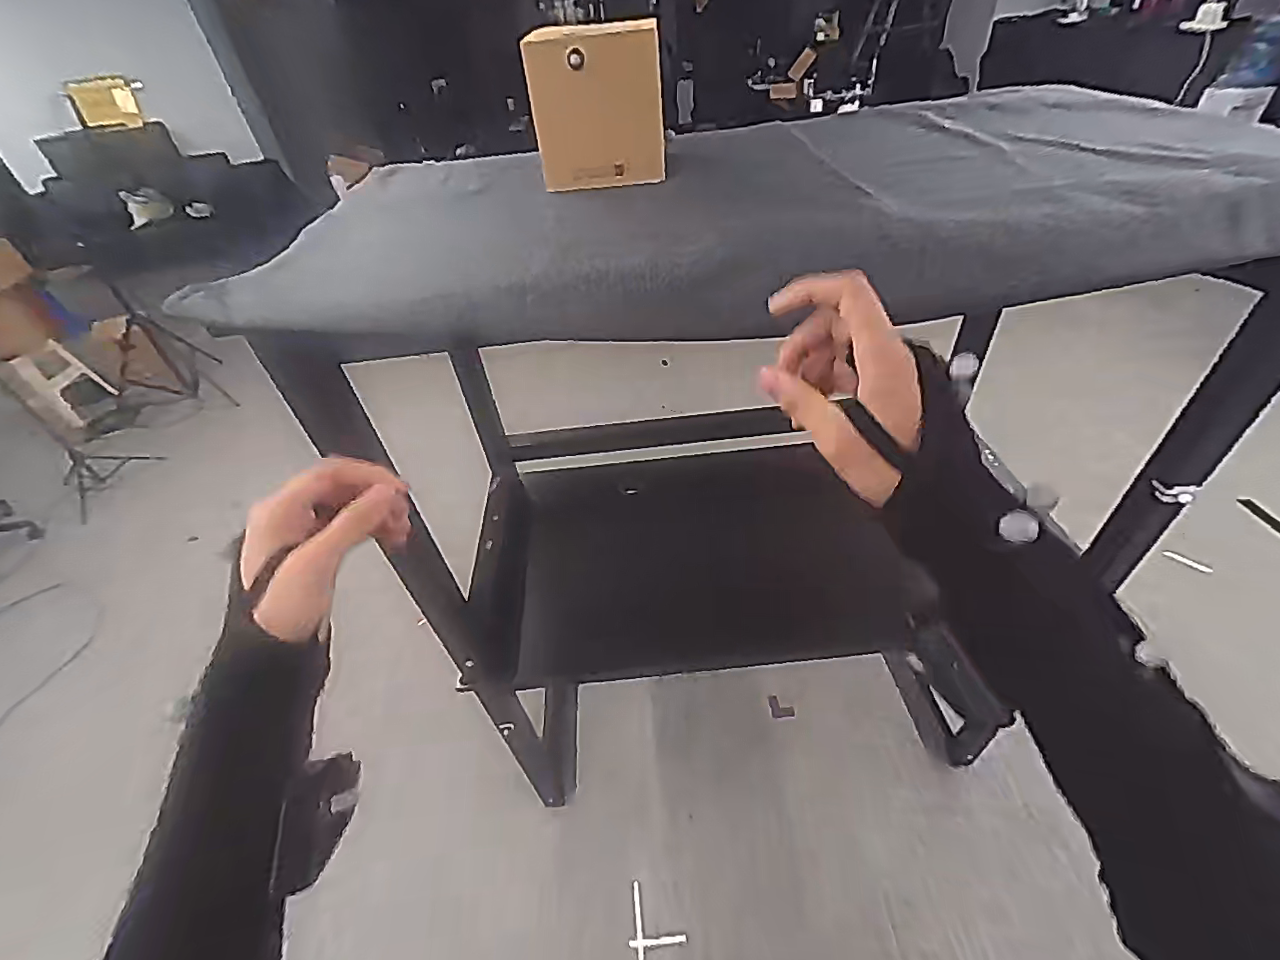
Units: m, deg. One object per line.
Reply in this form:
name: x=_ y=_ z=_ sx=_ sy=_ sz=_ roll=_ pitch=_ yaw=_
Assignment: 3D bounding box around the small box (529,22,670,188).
small box: x=-0.045 y=-0.522 z=0.756 sx=0.168 sy=0.176 sz=0.179 roll=-3 pitch=42 yaw=4
